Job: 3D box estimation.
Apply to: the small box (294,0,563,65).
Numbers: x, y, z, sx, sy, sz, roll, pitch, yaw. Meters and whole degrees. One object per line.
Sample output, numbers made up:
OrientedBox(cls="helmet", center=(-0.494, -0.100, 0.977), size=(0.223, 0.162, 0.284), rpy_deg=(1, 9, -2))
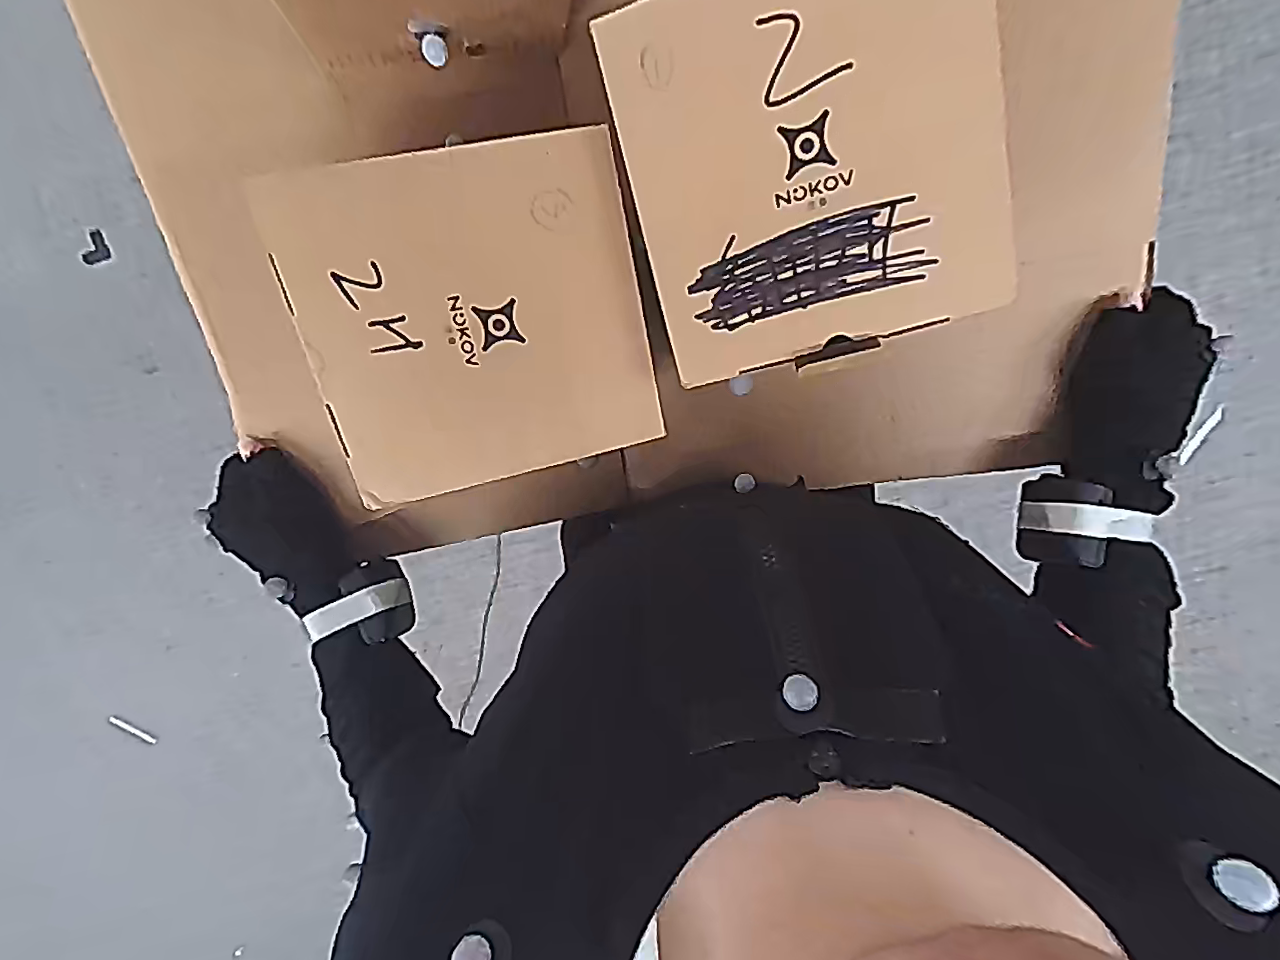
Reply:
OrientedBox(cls="small box", center=(-0.133, -0.361, 0.283), size=(0.168, 0.176, 0.179), rpy_deg=(-13, 109, -10))
